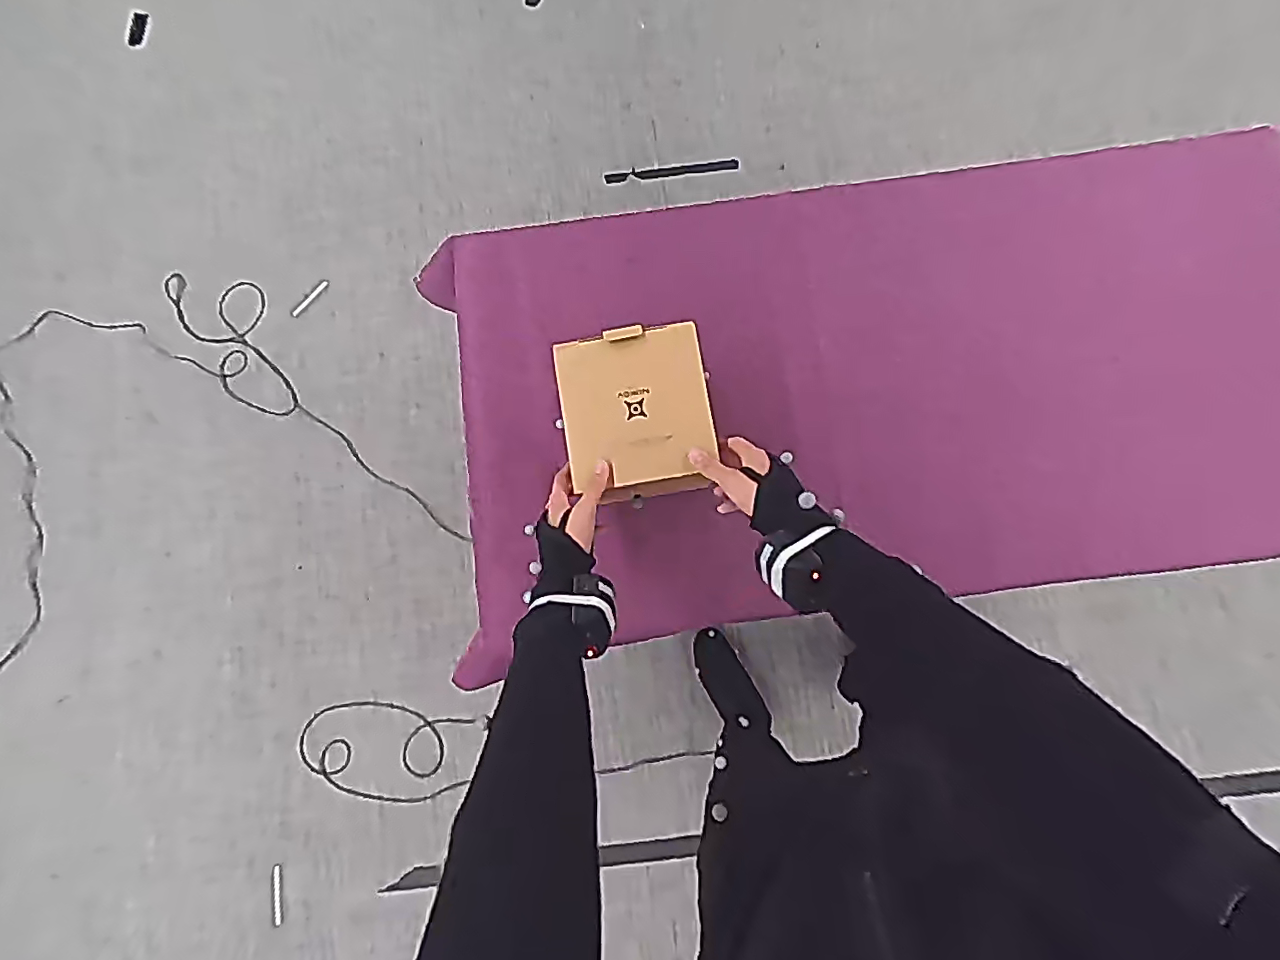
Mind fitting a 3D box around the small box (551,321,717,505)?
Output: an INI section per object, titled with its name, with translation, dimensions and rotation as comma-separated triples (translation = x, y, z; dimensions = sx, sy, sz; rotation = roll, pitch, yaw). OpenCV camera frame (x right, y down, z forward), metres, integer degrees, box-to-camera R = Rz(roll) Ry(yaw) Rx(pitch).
[small box]
translation = -0.006, -0.071, 0.671
dimensions = 0.168, 0.176, 0.179
rotation = -9, 82, 1
